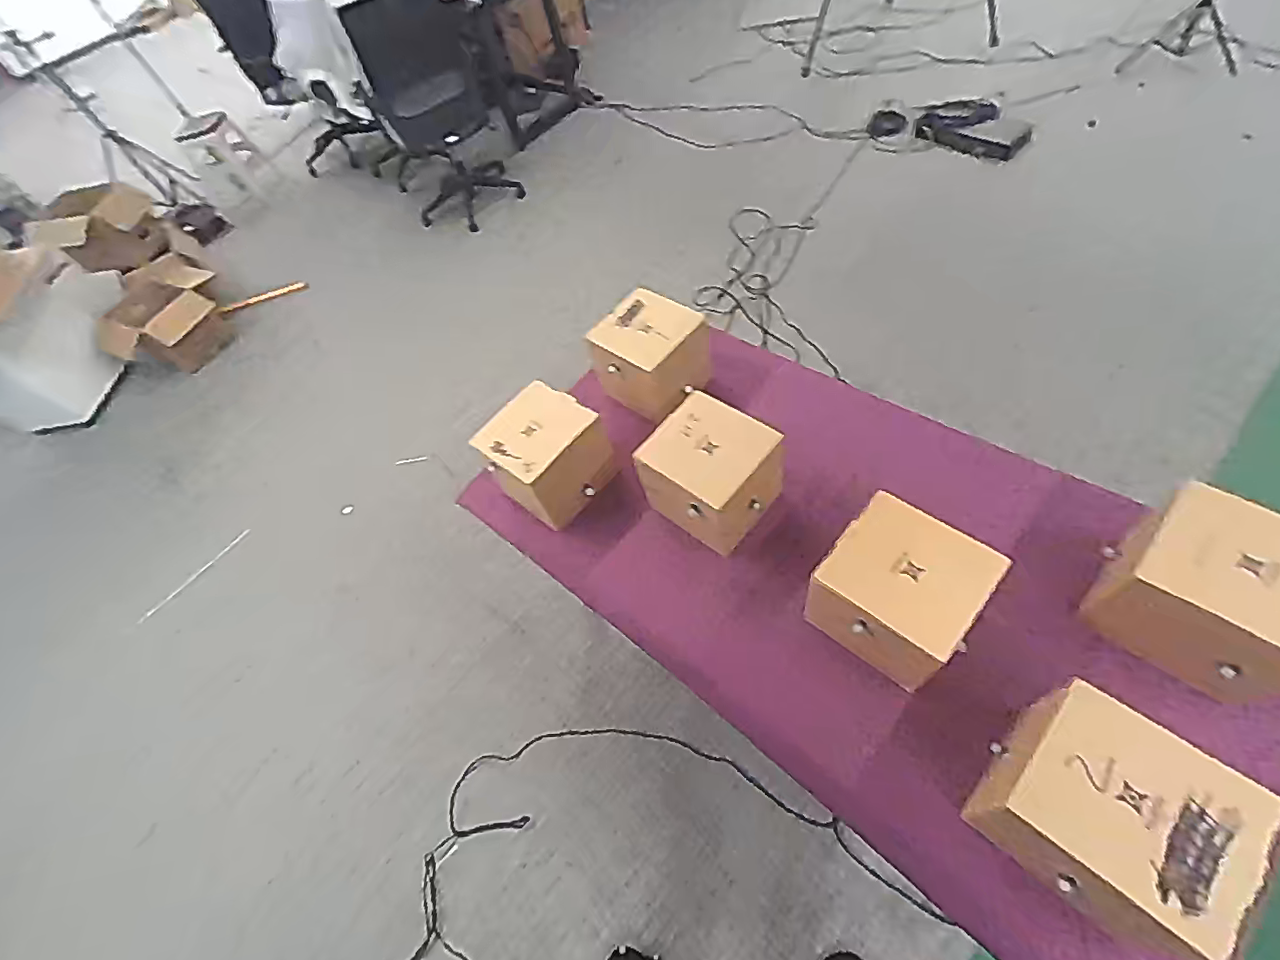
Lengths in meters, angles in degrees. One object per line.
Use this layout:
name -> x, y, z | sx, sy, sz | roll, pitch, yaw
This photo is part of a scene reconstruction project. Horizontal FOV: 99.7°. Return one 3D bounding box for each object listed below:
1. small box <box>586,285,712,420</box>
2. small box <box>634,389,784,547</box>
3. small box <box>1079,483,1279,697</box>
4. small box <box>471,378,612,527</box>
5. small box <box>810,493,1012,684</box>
small box -> 0.025, -0.248, 1.076 | 0.179, 0.176, 0.168 | 34, 72, 28
small box -> 0.120, -0.012, 0.902 | 0.179, 0.176, 0.168 | 35, 71, 29
small box -> 0.702, 0.142, 0.663 | 0.179, 0.176, 0.168 | 36, 73, 31
small box -> -0.168, -0.048, 0.992 | 0.168, 0.176, 0.179 | 32, 68, 29
small box -> 0.354, 0.156, 0.741 | 0.179, 0.176, 0.168 | 35, 71, 30
